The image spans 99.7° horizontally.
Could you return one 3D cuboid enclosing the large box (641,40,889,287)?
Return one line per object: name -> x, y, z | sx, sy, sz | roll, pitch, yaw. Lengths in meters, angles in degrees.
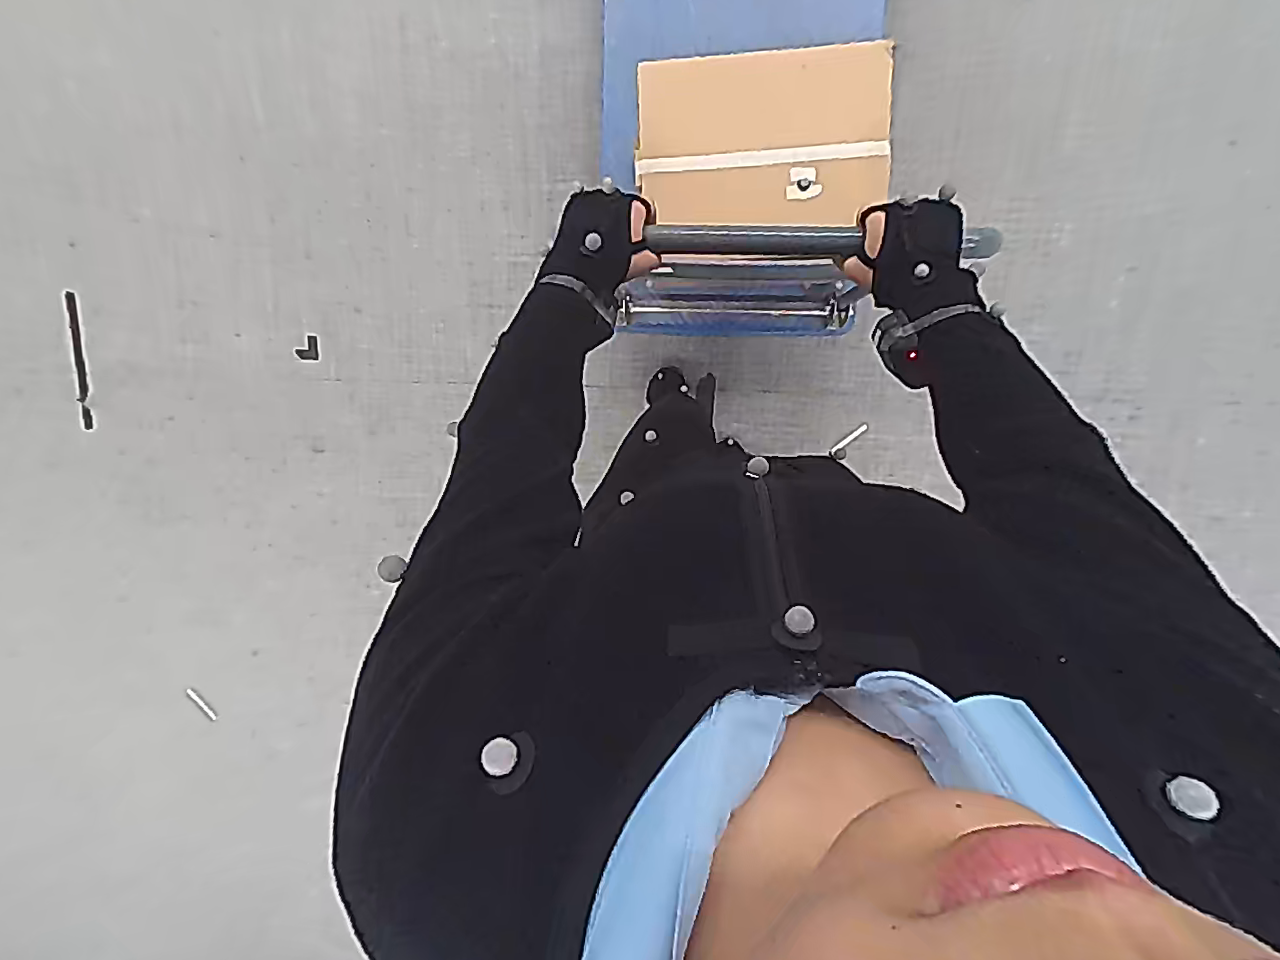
large box -> 0.216, -0.570, 1.048 | 0.408, 0.320, 0.320 | -2, 102, 4
